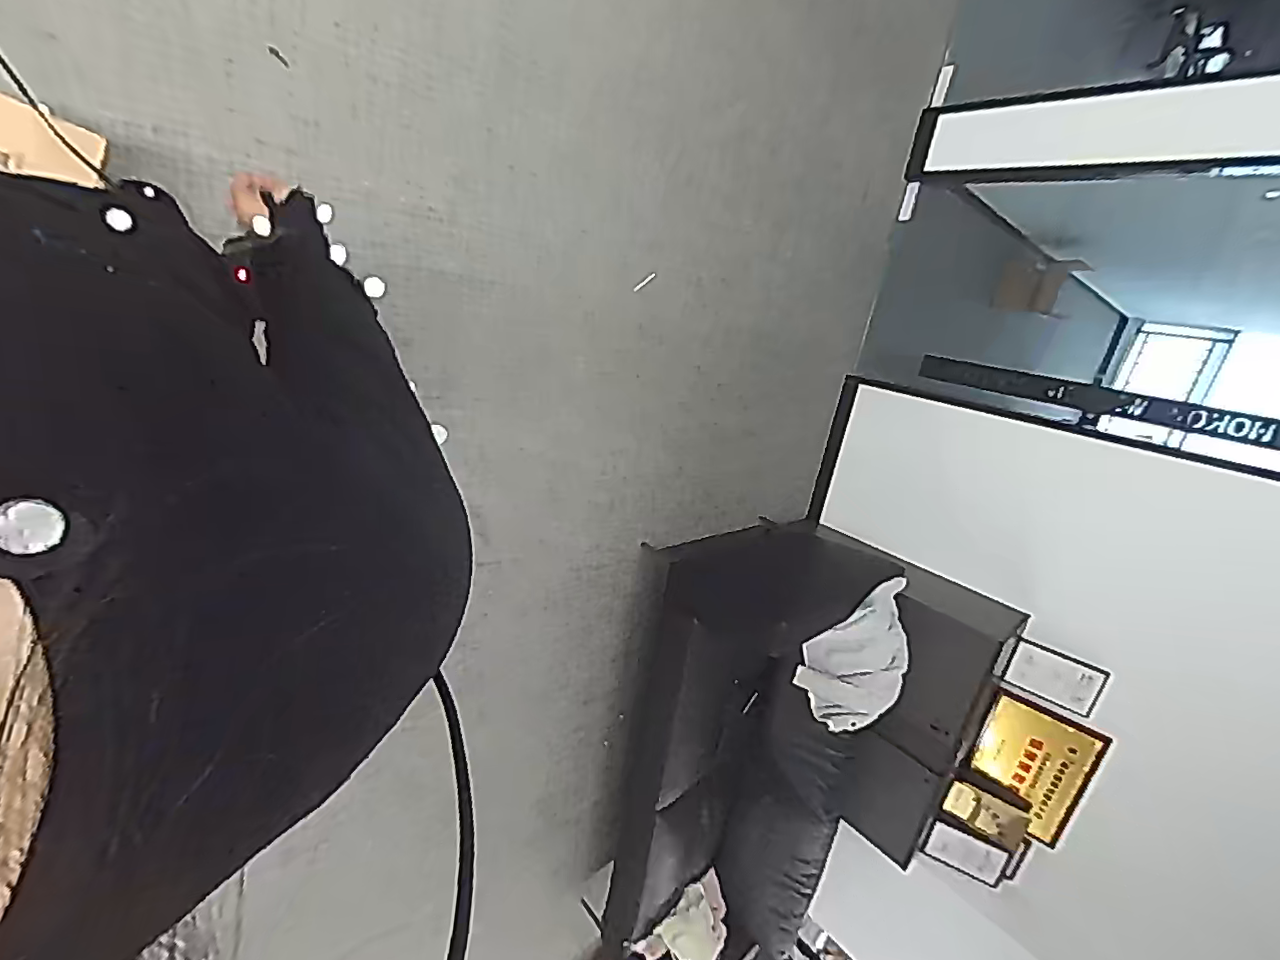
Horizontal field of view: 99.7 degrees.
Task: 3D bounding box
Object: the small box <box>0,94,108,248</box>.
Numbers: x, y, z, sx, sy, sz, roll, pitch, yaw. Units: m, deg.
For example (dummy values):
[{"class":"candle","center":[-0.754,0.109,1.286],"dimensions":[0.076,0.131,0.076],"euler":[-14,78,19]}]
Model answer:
[{"class":"small box","center":[-0.917,-0.462,0.791],"dimensions":[0.179,0.176,0.168],"euler":[11,101,-47]}]
